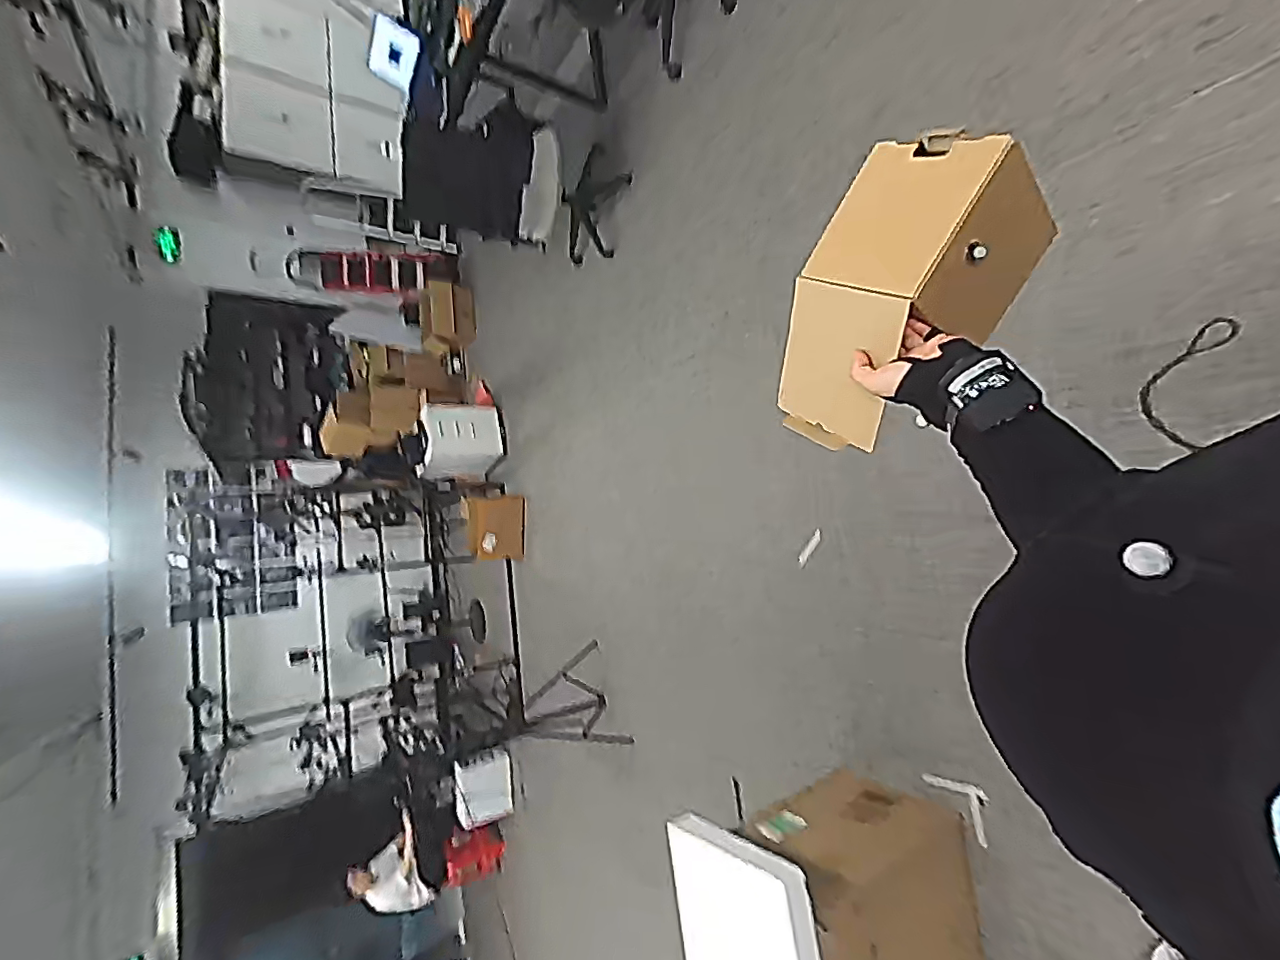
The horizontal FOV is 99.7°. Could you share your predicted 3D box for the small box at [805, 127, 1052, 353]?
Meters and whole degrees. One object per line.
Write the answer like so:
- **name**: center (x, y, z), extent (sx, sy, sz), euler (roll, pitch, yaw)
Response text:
- **small box**: center (0.341, -0.275, 0.640), extent (0.179, 0.176, 0.168), euler (-60, 39, 11)
